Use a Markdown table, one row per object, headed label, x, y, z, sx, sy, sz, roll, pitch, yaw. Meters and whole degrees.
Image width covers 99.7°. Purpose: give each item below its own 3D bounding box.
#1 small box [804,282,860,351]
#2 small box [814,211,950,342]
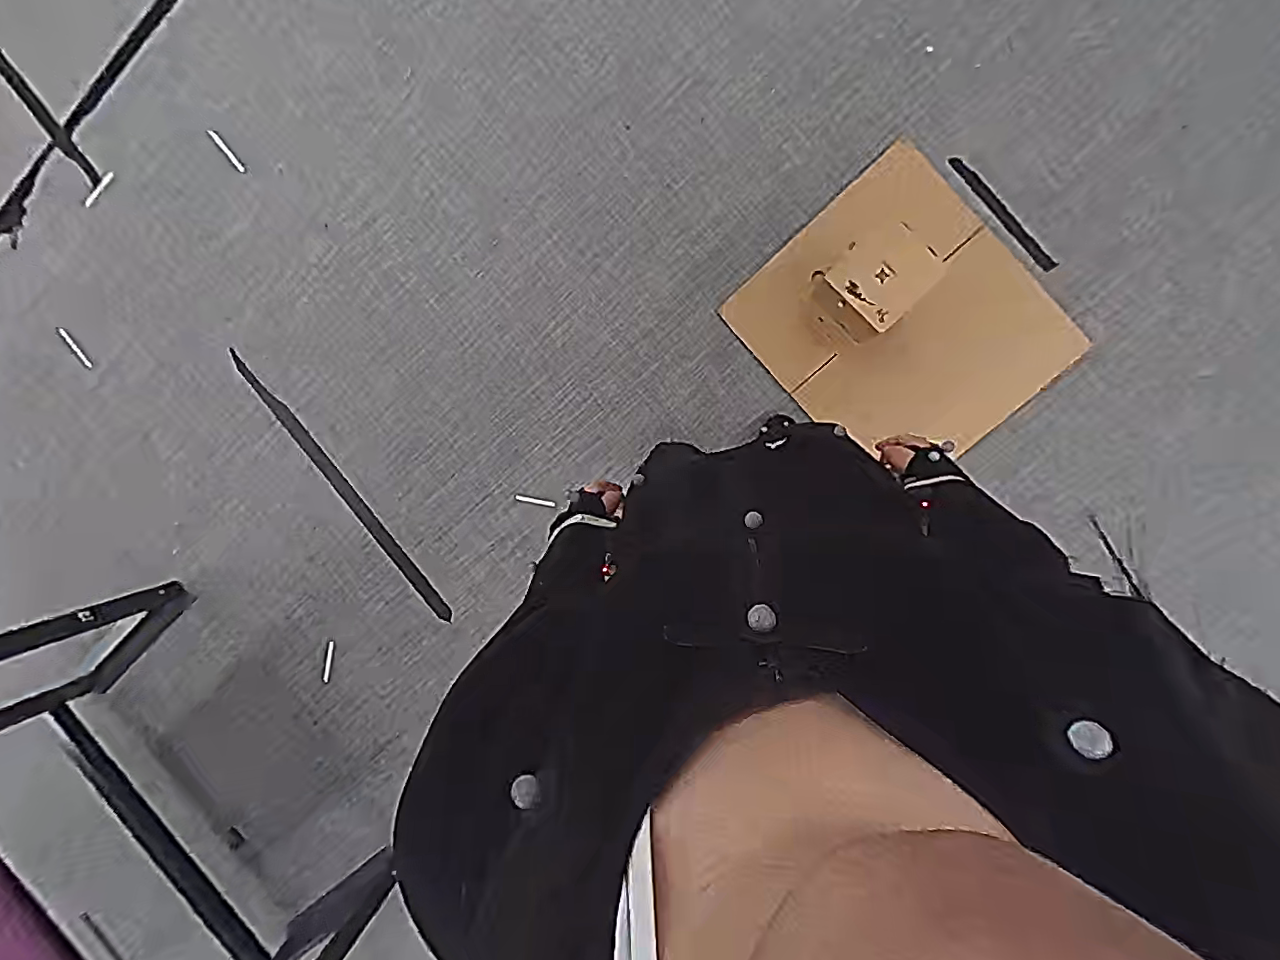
| label | x | y | z | sx | sy | sz | roll | pitch | yaw |
| --- | --- | --- | --- | --- | --- | --- | --- | --- | --- |
| small box | 0.514 | -0.432 | 1.299 | 0.179 | 0.176 | 0.168 | -44 | 90 | 10 |
| small box | 0.494 | -0.415 | 1.136 | 0.168 | 0.176 | 0.179 | 45 | 99 | 1 |
